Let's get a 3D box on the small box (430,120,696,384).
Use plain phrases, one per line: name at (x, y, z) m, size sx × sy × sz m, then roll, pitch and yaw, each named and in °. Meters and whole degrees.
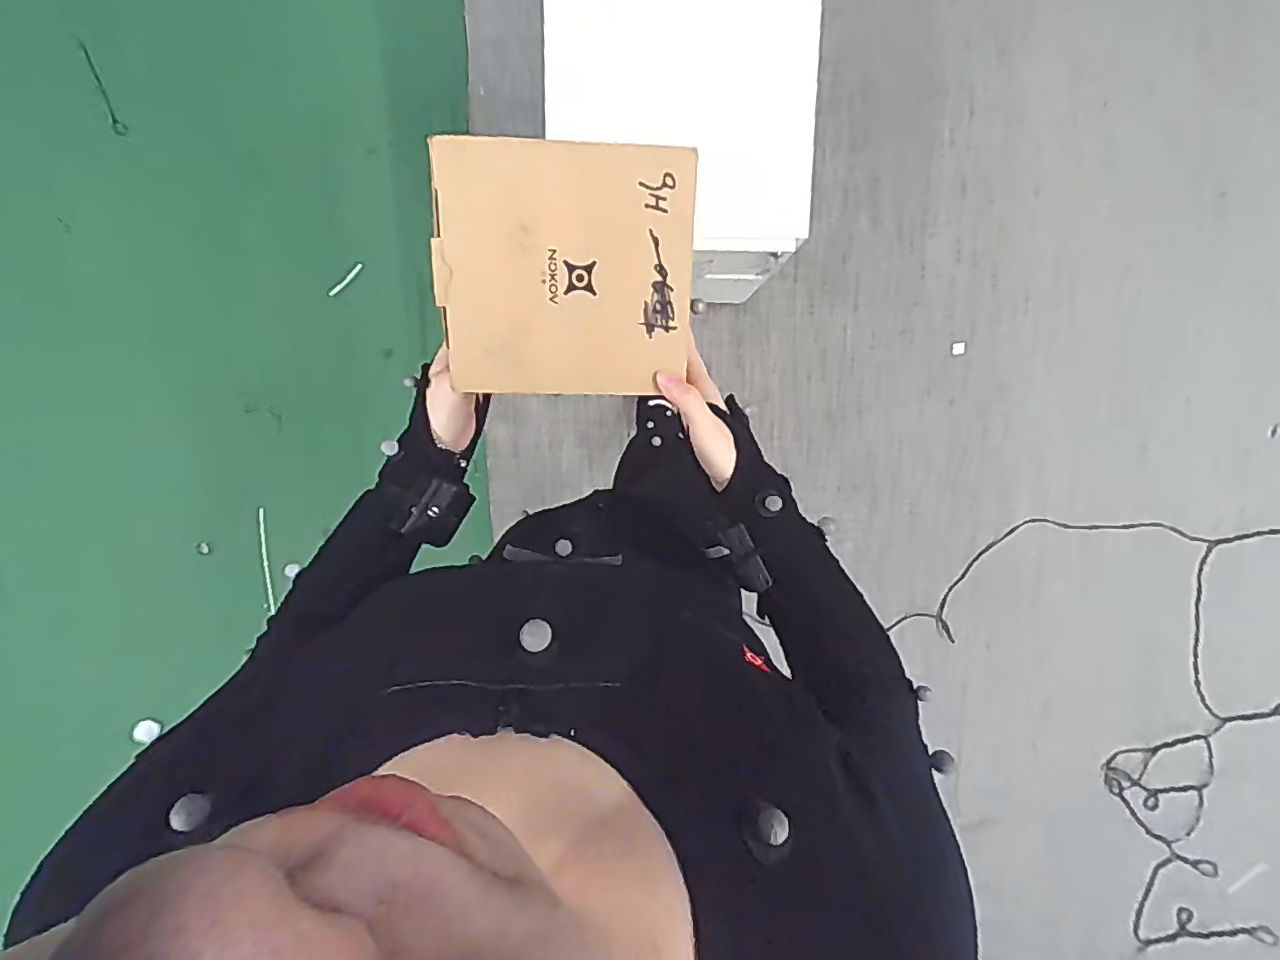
small box at (-0.055, -0.176, 0.451) m, size 0.179 × 0.176 × 0.168 m, roll 1°, pitch 109°, yaw -3°
